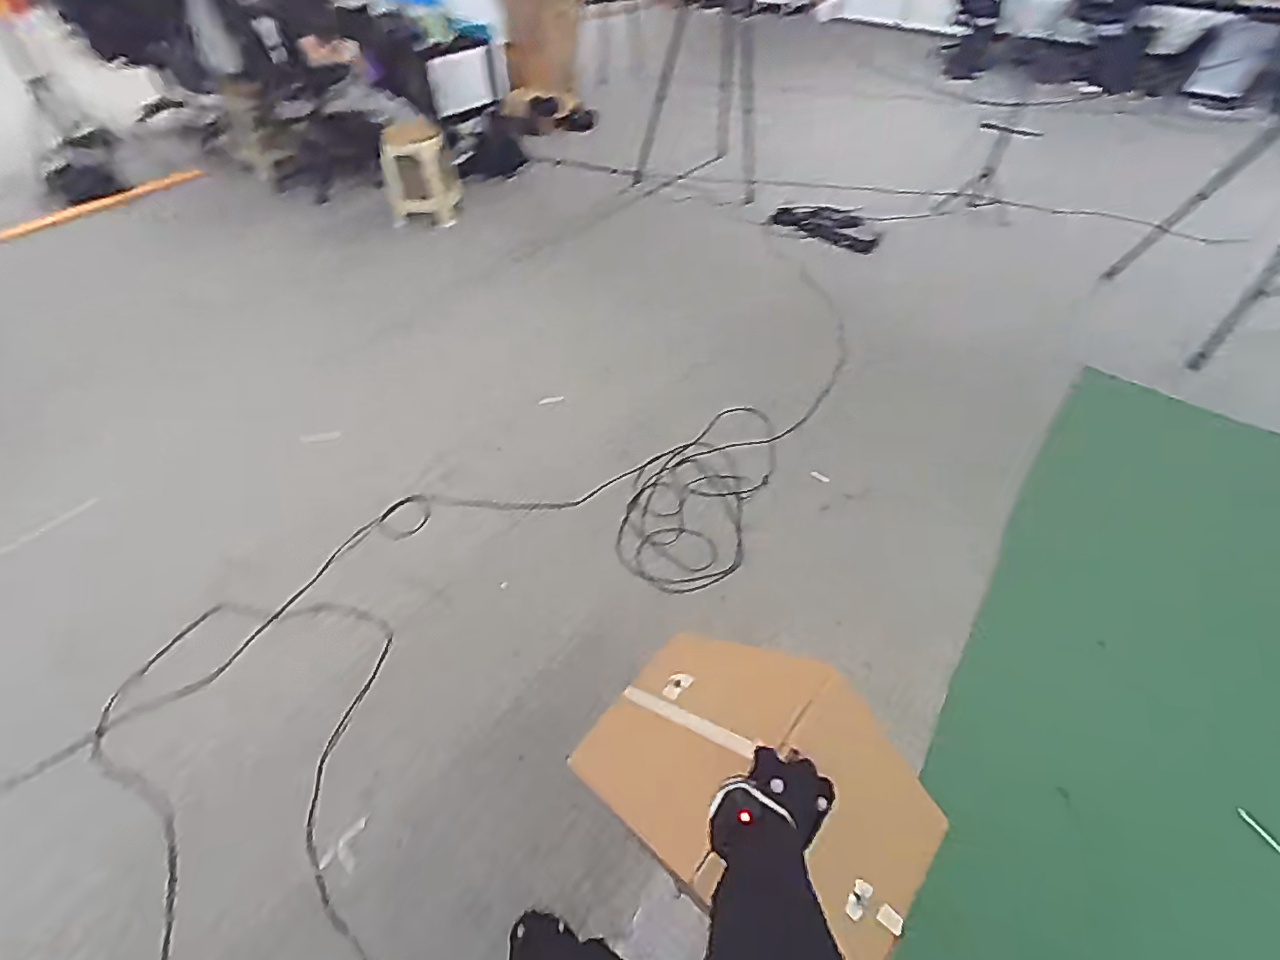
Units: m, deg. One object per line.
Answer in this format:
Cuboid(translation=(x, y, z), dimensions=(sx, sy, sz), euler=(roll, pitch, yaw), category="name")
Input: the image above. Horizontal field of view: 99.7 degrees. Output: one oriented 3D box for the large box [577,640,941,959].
Cuboid(translation=(0.168, 0.495, 0.864), dimensions=(0.320, 0.408, 0.320), euler=(-42, 100, -26), category="large box")
